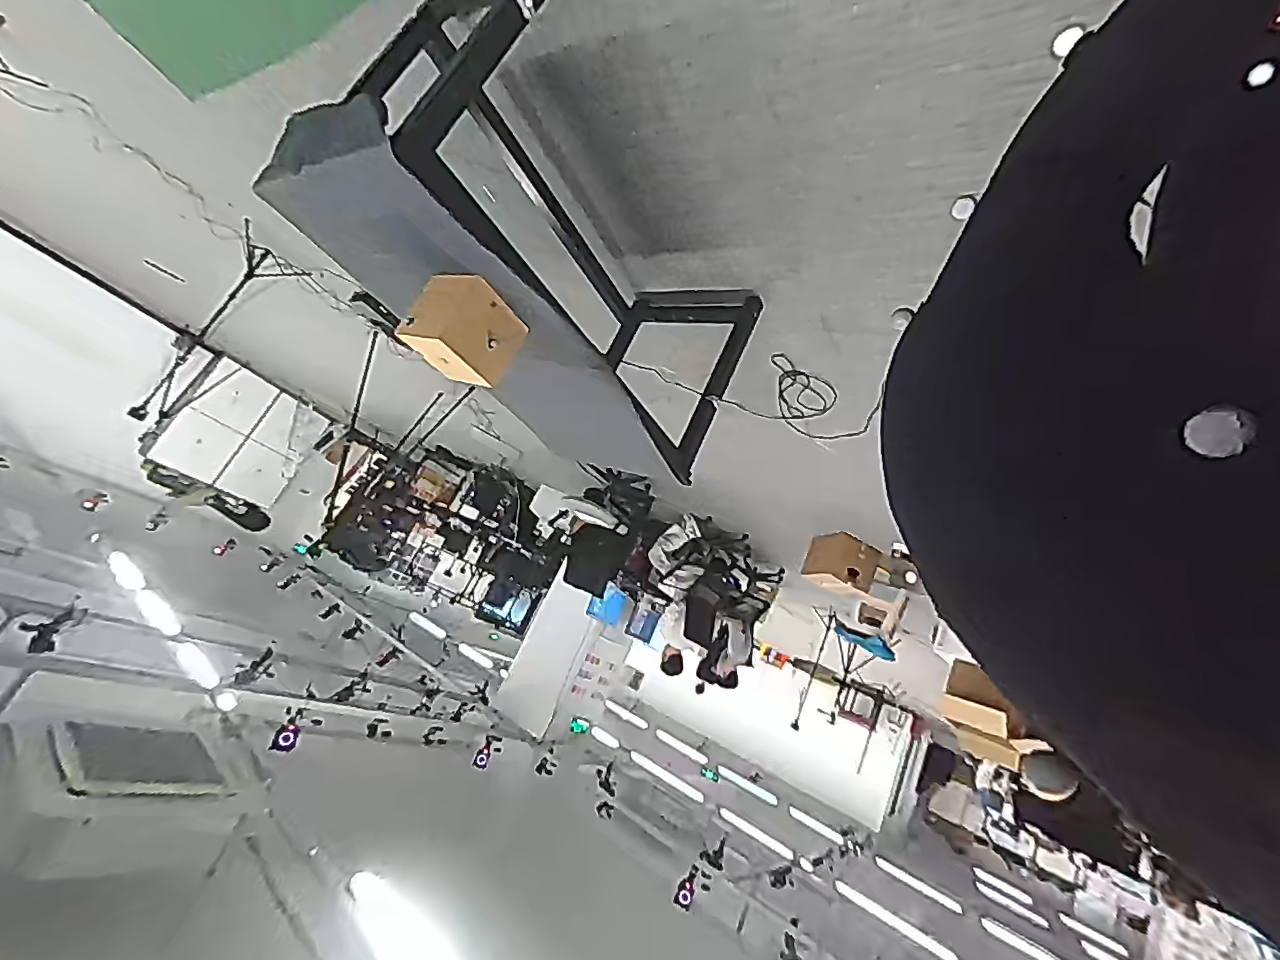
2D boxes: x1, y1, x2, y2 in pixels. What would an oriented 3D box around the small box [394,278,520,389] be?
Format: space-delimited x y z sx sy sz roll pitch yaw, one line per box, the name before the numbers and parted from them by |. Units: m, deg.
small box | -0.388 -0.323 1.182 0.179 0.176 0.168 16 162 36
